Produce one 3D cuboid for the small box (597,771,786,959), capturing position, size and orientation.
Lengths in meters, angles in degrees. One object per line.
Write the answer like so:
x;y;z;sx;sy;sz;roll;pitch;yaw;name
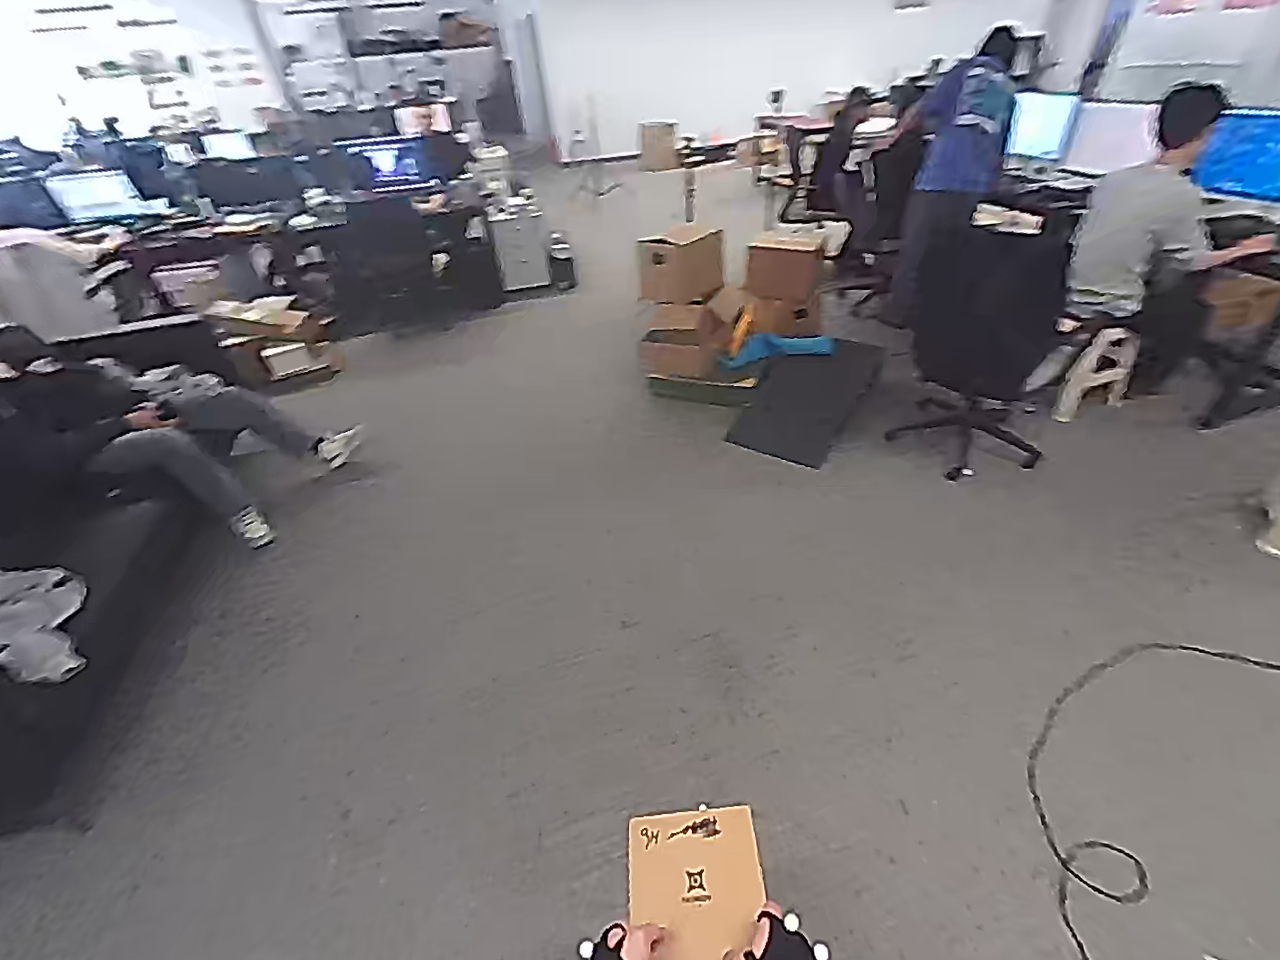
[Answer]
0.074;0.541;0.715;0.179;0.176;0.168;-31;39;-18;small box
